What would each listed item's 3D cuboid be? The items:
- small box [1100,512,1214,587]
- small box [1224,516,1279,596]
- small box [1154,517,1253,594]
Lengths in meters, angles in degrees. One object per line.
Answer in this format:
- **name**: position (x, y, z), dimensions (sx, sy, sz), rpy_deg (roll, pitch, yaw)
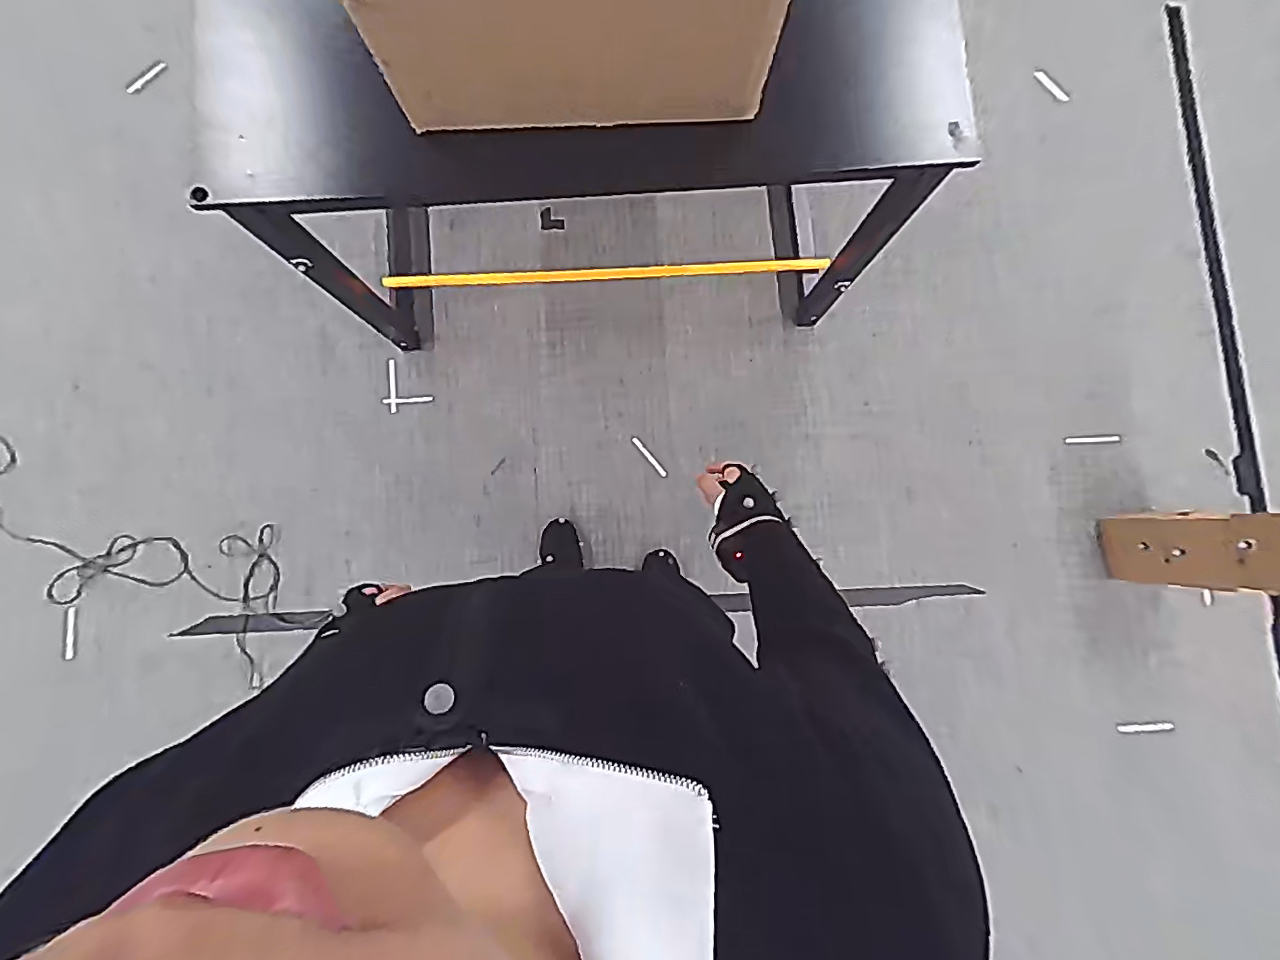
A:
- **small box**: position (1.378, 0.183, 1.439), dimensions (0.168, 0.176, 0.179), rpy_deg (-7, 86, -1)
- **small box**: position (1.378, 0.159, 1.112), dimensions (0.179, 0.176, 0.168), rpy_deg (2, 84, 0)
- **small box**: position (1.382, 0.173, 1.275), dimensions (0.179, 0.176, 0.168), rpy_deg (-3, 85, -1)
